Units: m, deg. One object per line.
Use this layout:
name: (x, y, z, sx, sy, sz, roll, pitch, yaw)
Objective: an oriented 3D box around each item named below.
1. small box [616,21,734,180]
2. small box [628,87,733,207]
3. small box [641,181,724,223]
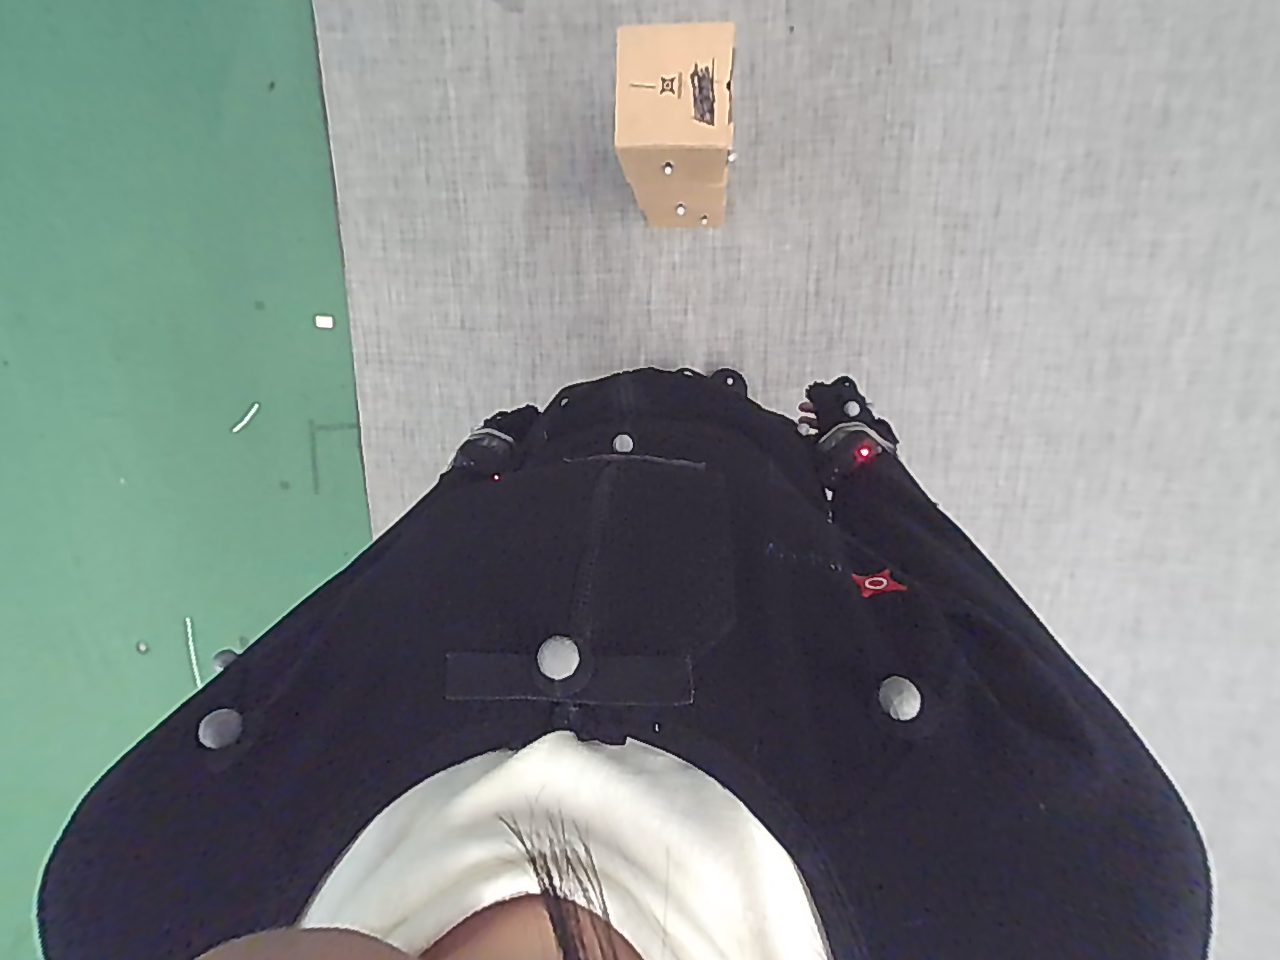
small box: (0.056, -0.606, 0.885, 0.179, 0.176, 0.168, 1, 102, 5)
small box: (0.078, -0.640, 1.045, 0.179, 0.176, 0.168, 6, 103, 5)
small box: (0.098, -0.680, 1.202, 0.179, 0.176, 0.168, 2, 102, 8)
